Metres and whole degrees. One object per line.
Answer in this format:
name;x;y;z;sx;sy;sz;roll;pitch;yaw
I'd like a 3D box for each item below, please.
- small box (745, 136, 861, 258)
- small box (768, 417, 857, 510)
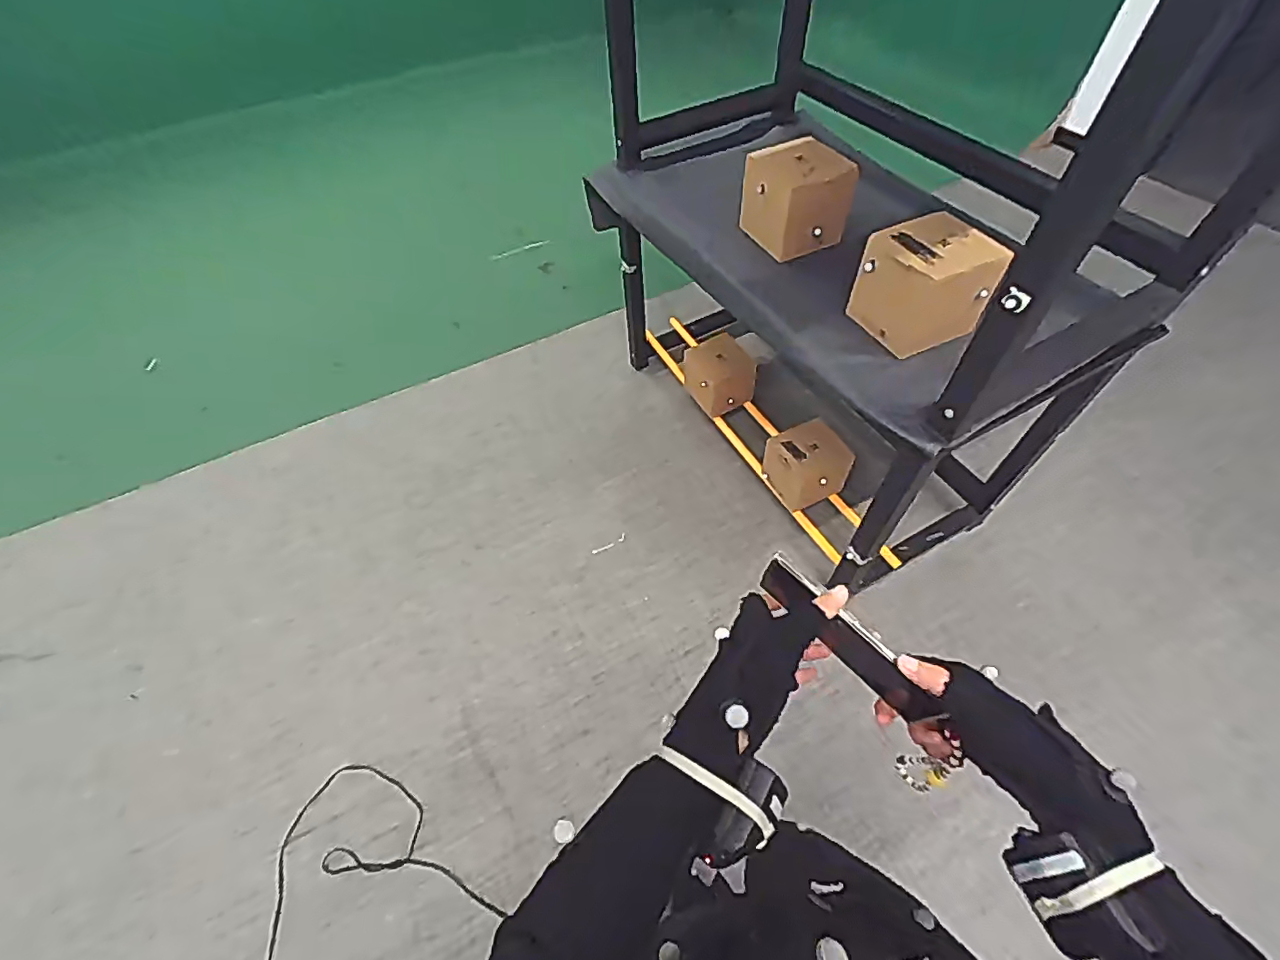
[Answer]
small box;0.348;-0.624;1.197;0.168;0.176;0.179;-23;56;-12
small box;0.478;-0.041;1.538;0.179;0.176;0.168;-23;56;-11
